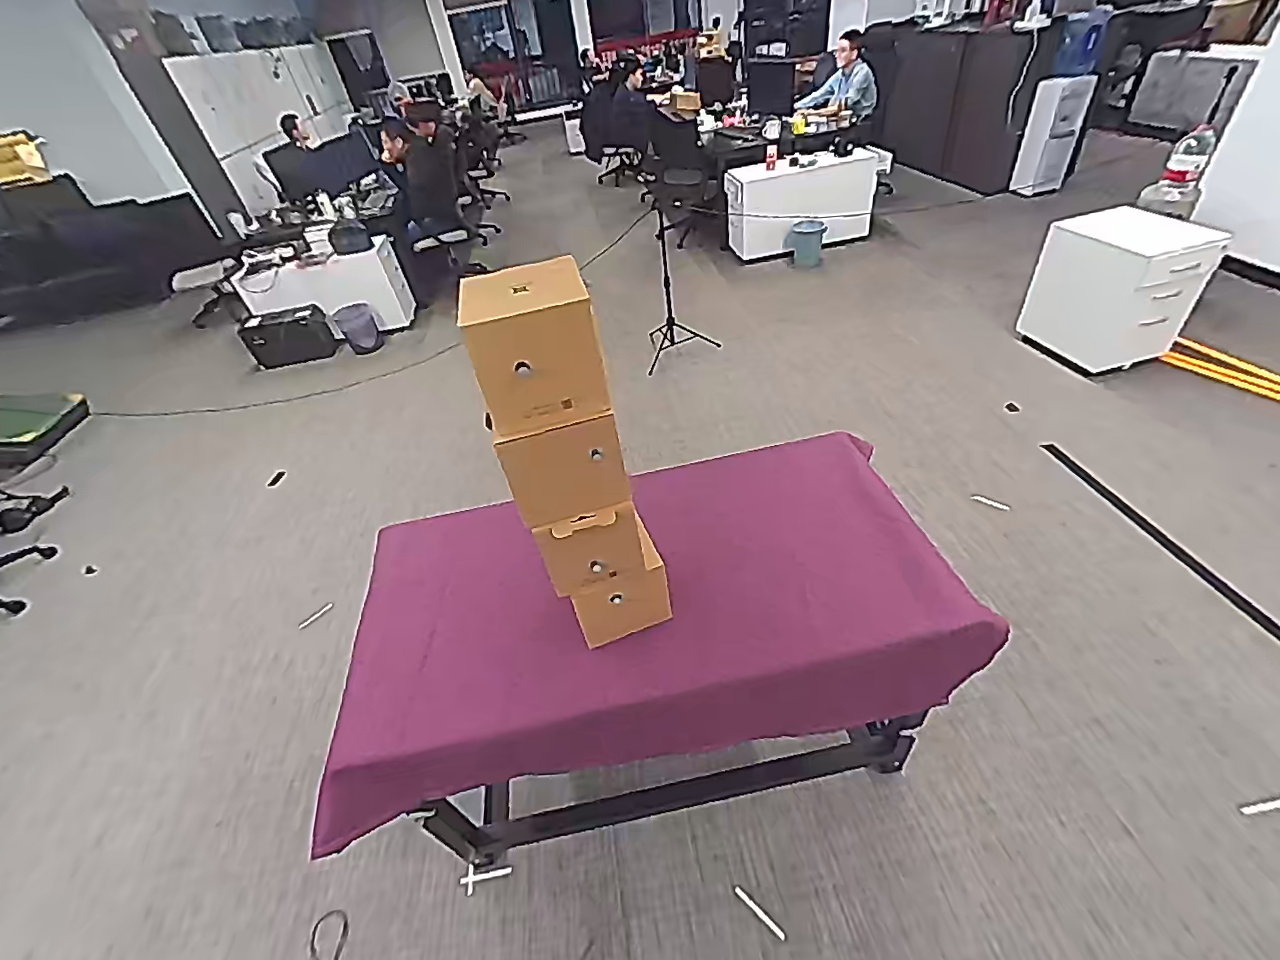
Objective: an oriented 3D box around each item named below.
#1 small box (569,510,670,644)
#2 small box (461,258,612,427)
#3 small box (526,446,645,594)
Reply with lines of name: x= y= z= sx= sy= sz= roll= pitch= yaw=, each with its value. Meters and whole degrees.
small box: x=-0.053 y=0.192 z=1.066 sx=0.179 sy=0.176 sz=0.168 roll=-18 pitch=42 yaw=-10
small box: x=-0.144 y=-0.191 z=0.769 sx=0.168 sy=0.176 sz=0.179 roll=-14 pitch=40 yaw=-5
small box: x=-0.097 y=0.070 z=0.962 sx=0.168 sy=0.176 sz=0.179 roll=-15 pitch=41 yaw=-5
